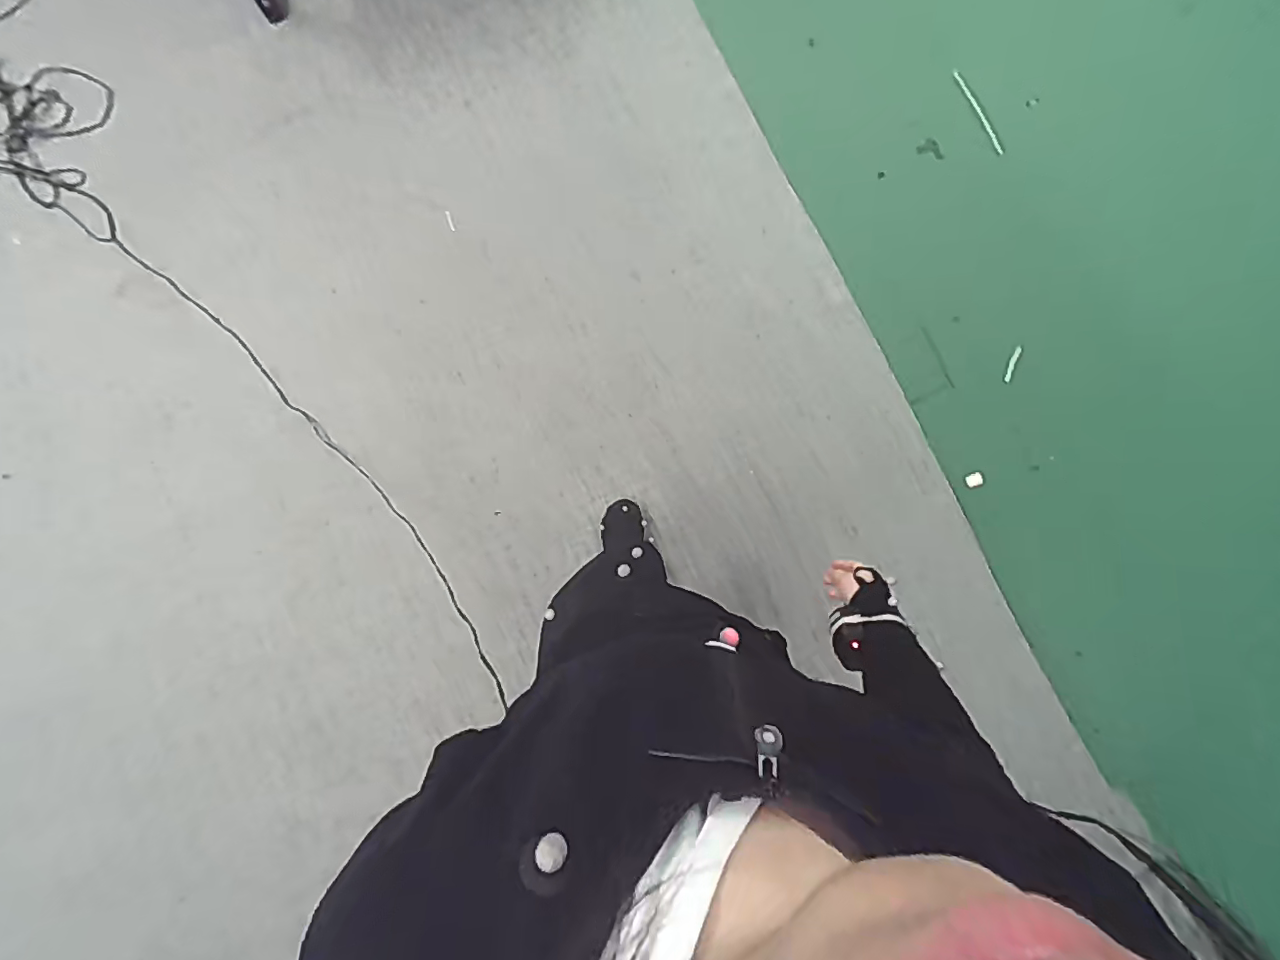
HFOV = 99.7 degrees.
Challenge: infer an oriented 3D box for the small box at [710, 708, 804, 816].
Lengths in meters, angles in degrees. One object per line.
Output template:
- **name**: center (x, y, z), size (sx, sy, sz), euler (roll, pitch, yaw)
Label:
- **small box**: center (0.284, 0.705, 1.371), size (0.179, 0.176, 0.168), euler (-19, 83, -4)
